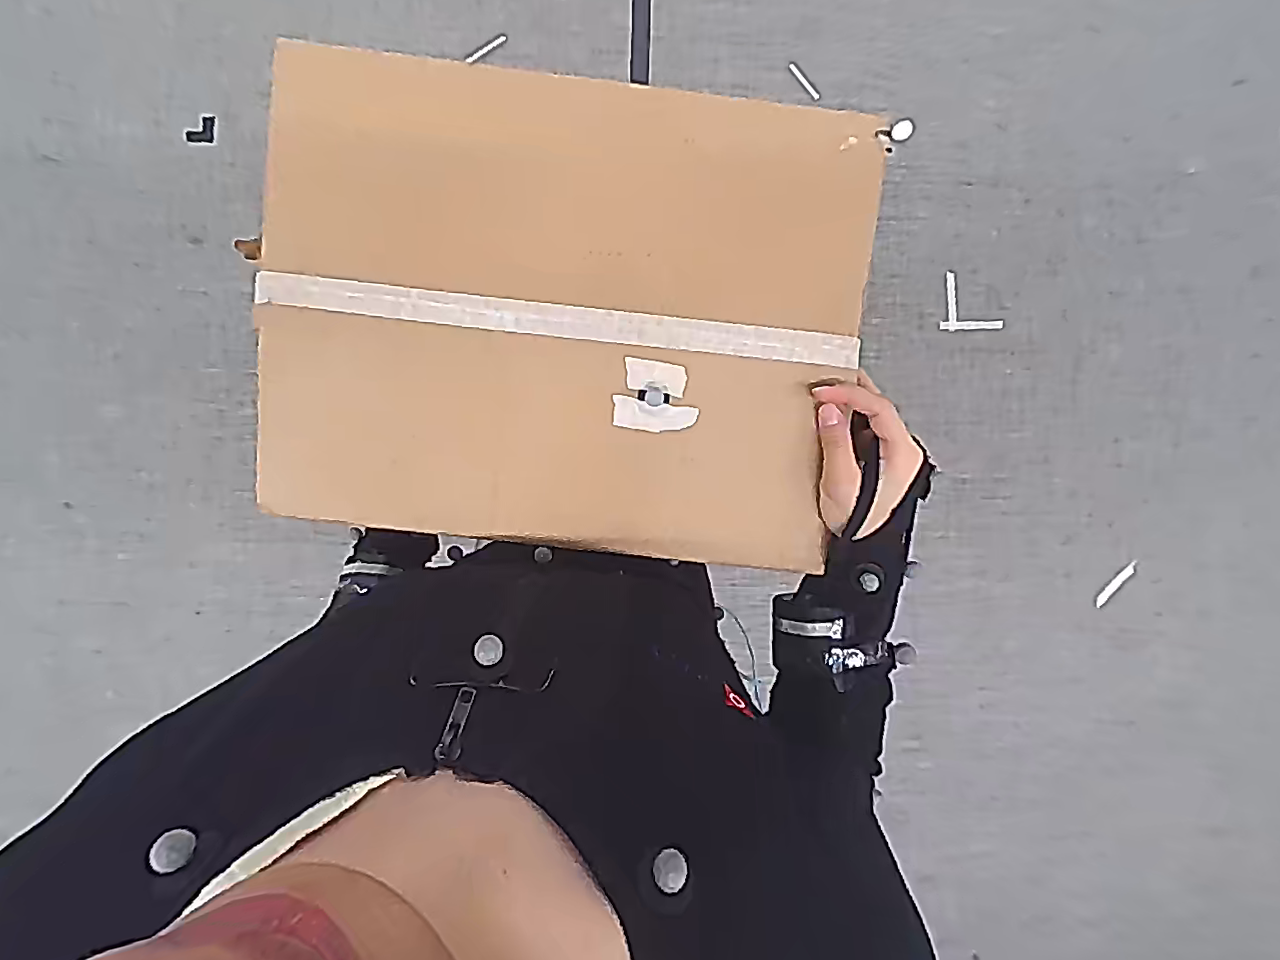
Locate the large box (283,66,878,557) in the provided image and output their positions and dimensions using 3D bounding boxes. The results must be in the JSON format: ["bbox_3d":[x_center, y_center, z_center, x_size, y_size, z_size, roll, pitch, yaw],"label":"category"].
[{"bbox_3d":[-0.050,-0.123,0.526,0.408,0.320,0.320,5,96,-2],"label":"large box"}]
